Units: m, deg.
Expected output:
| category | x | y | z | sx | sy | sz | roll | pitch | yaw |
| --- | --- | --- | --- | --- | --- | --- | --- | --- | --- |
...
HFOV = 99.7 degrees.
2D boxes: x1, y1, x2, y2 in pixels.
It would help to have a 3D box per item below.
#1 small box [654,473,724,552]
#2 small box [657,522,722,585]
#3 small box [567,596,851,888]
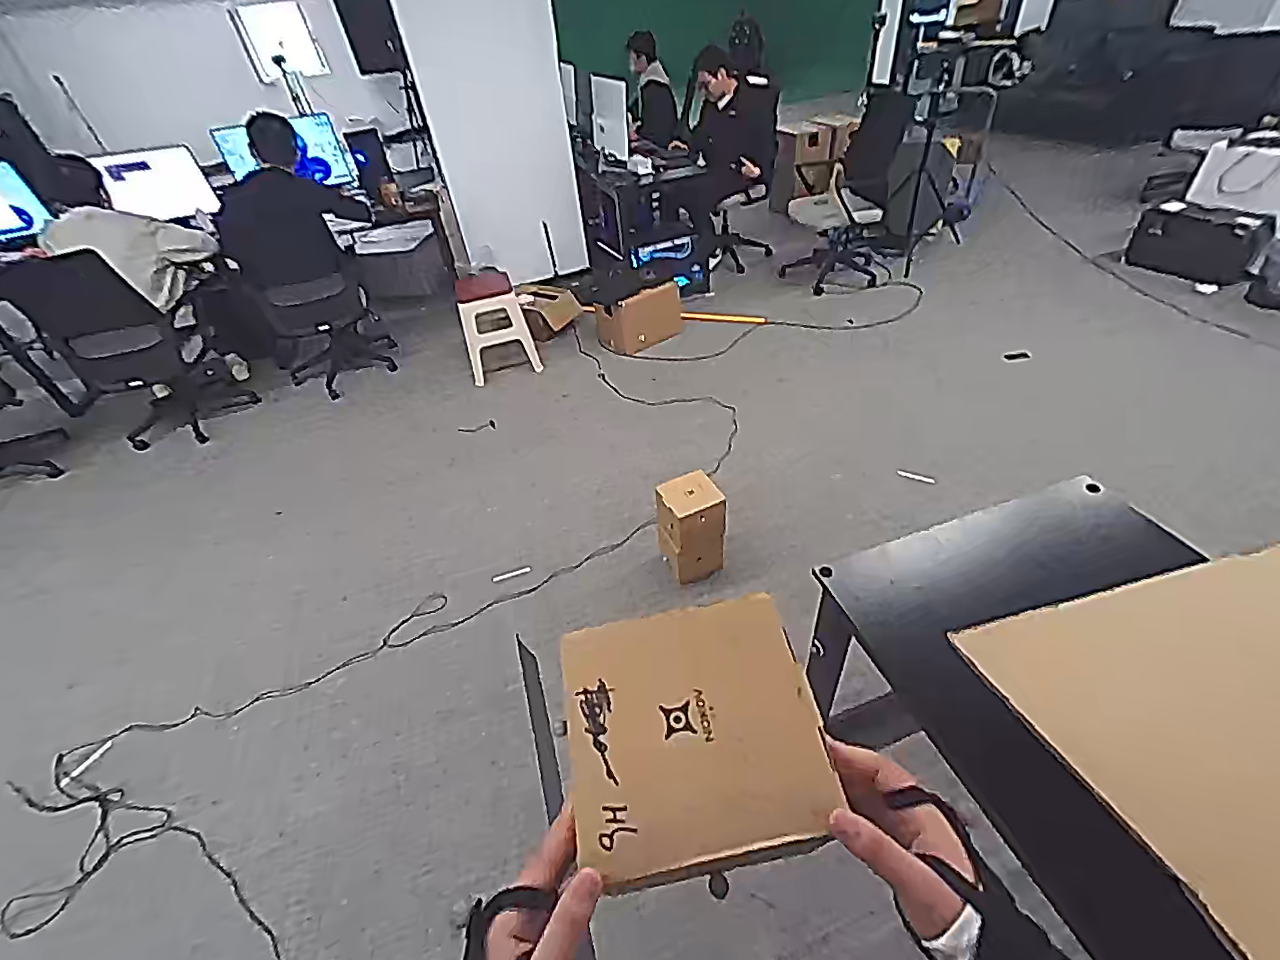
| category | x | y | z | sx | sy | sz | roll | pitch | yaw |
| --- | --- | --- | --- | --- | --- | --- | --- | --- | --- |
| small box | 0.163 | 0.111 | 1.787 | 0.179 | 0.176 | 0.168 | -20 | 43 | -16 |
| small box | 0.173 | 0.234 | 1.893 | 0.179 | 0.176 | 0.168 | -20 | 43 | -13 |
| small box | 0.042 | 0.220 | 0.450 | 0.179 | 0.176 | 0.168 | -10 | 50 | -4 |
